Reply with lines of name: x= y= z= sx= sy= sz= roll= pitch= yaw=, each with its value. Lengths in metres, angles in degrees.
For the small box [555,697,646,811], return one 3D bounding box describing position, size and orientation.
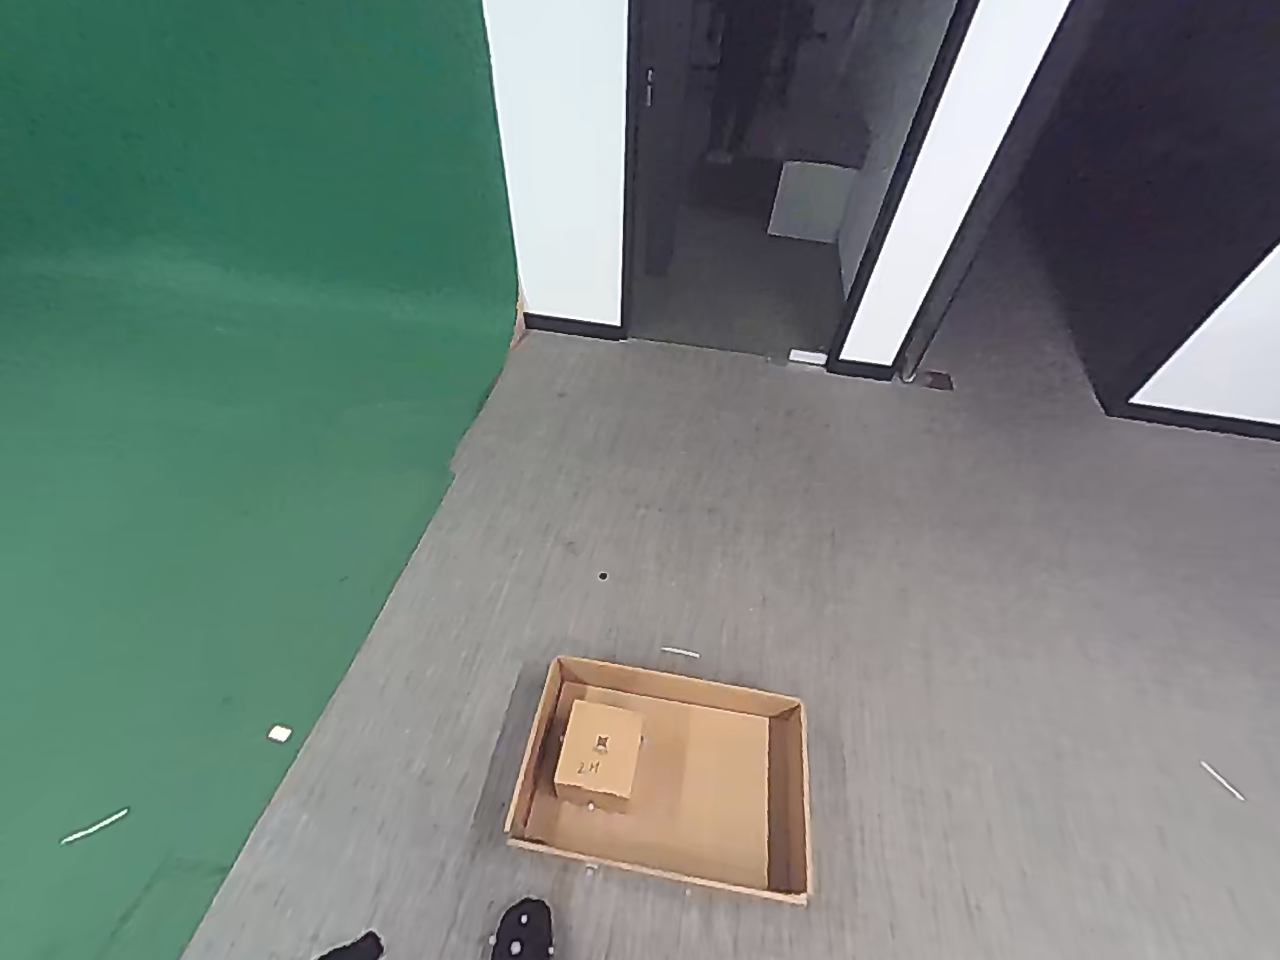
small box: x=-0.087 y=0.623 z=1.225 sx=0.168 sy=0.176 sz=0.179 roll=10 pitch=49 yaw=5
